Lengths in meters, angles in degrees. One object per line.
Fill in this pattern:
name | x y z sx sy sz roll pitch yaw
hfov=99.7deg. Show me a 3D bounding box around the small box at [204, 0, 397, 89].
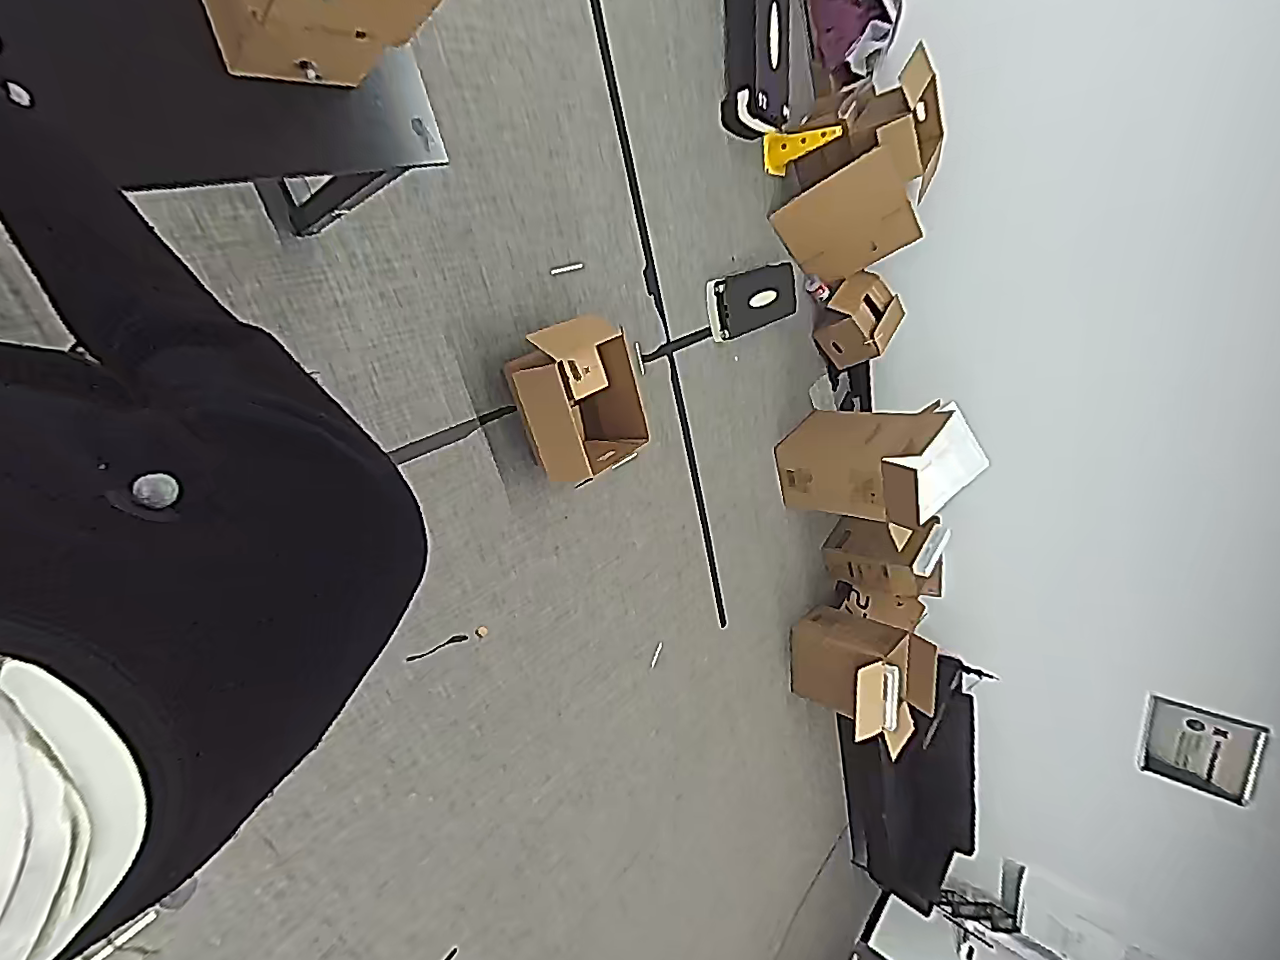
small box | -0.439 -0.628 0.672 0.168 0.176 0.179 -27 115 -39
